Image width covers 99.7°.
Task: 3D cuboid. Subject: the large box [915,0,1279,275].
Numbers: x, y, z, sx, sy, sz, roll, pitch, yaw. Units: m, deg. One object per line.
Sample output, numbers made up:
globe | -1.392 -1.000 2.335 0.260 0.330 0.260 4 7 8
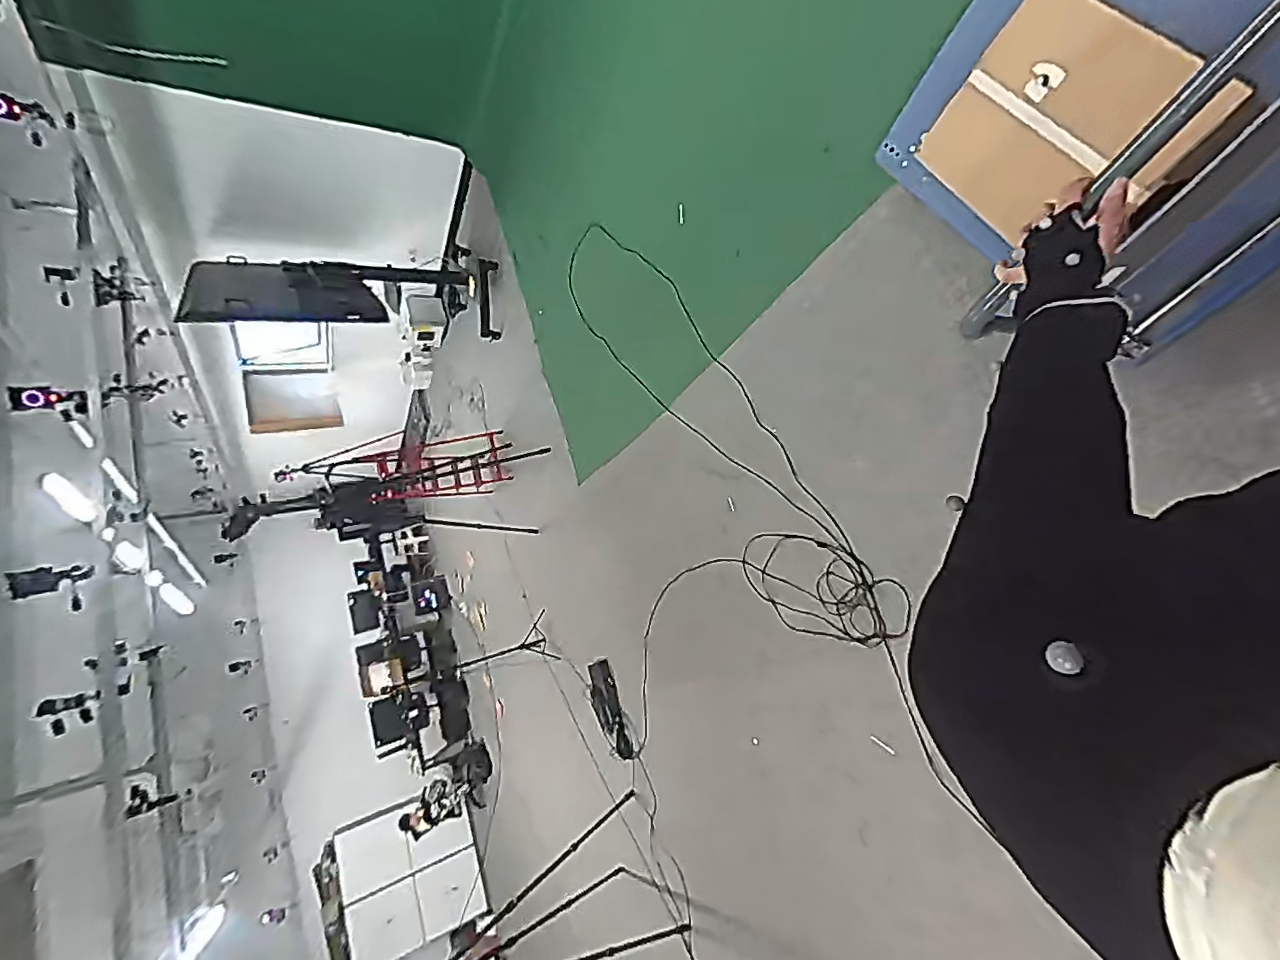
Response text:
large box | 0.844 -0.645 1.029 0.408 0.320 0.320 64 144 25
